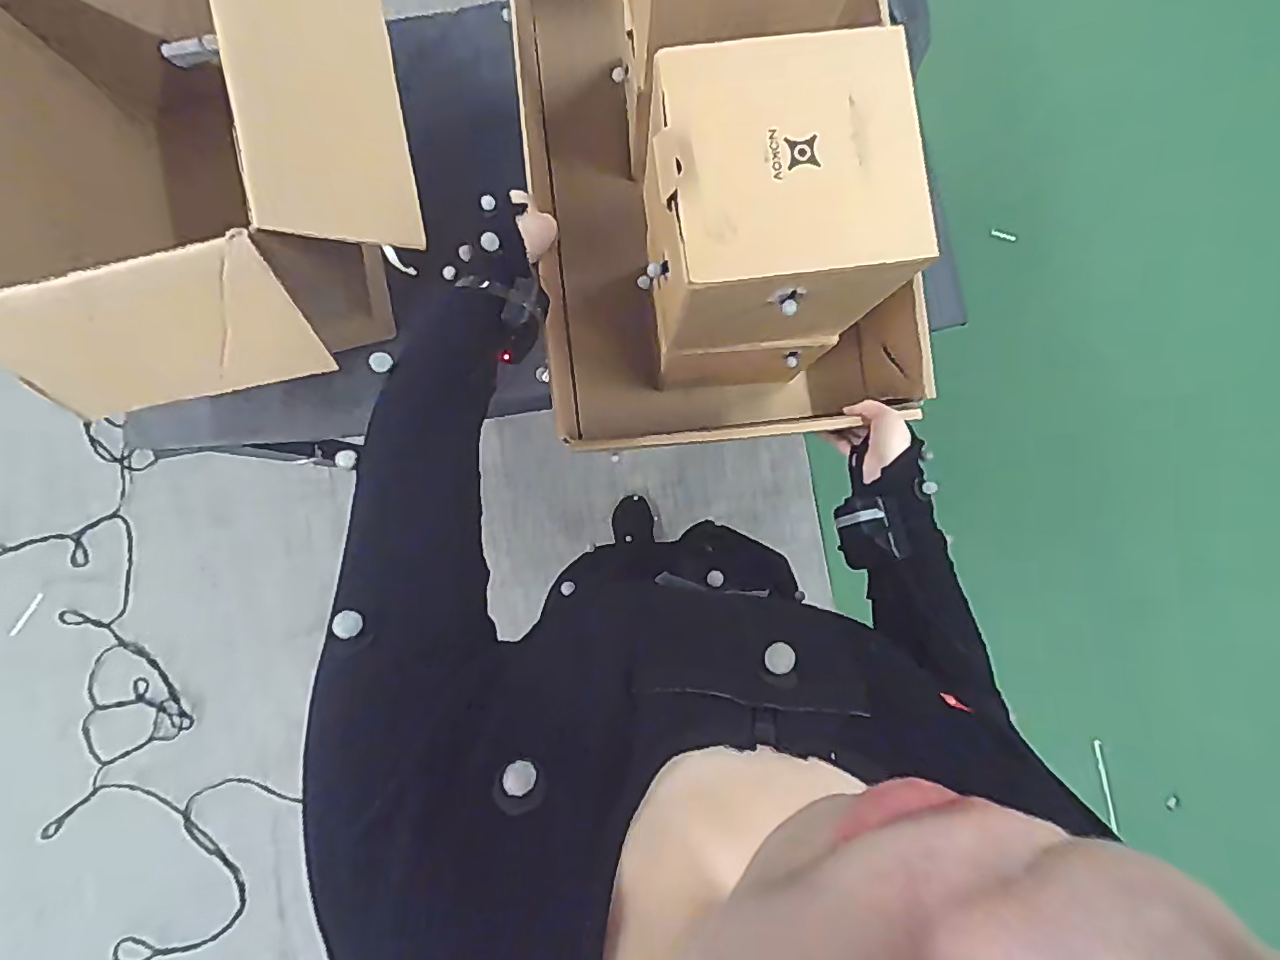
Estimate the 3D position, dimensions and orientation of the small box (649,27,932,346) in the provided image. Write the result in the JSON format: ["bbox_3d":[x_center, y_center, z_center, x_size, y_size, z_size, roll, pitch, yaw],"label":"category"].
[{"bbox_3d":[0.102,-0.220,0.449,0.179,0.176,0.168,-7,88,-3],"label":"small box"}]

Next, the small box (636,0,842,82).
[{"bbox_3d":[0.080,-0.472,0.454,0.168,0.176,0.179,-5,90,-2],"label":"small box"}]
